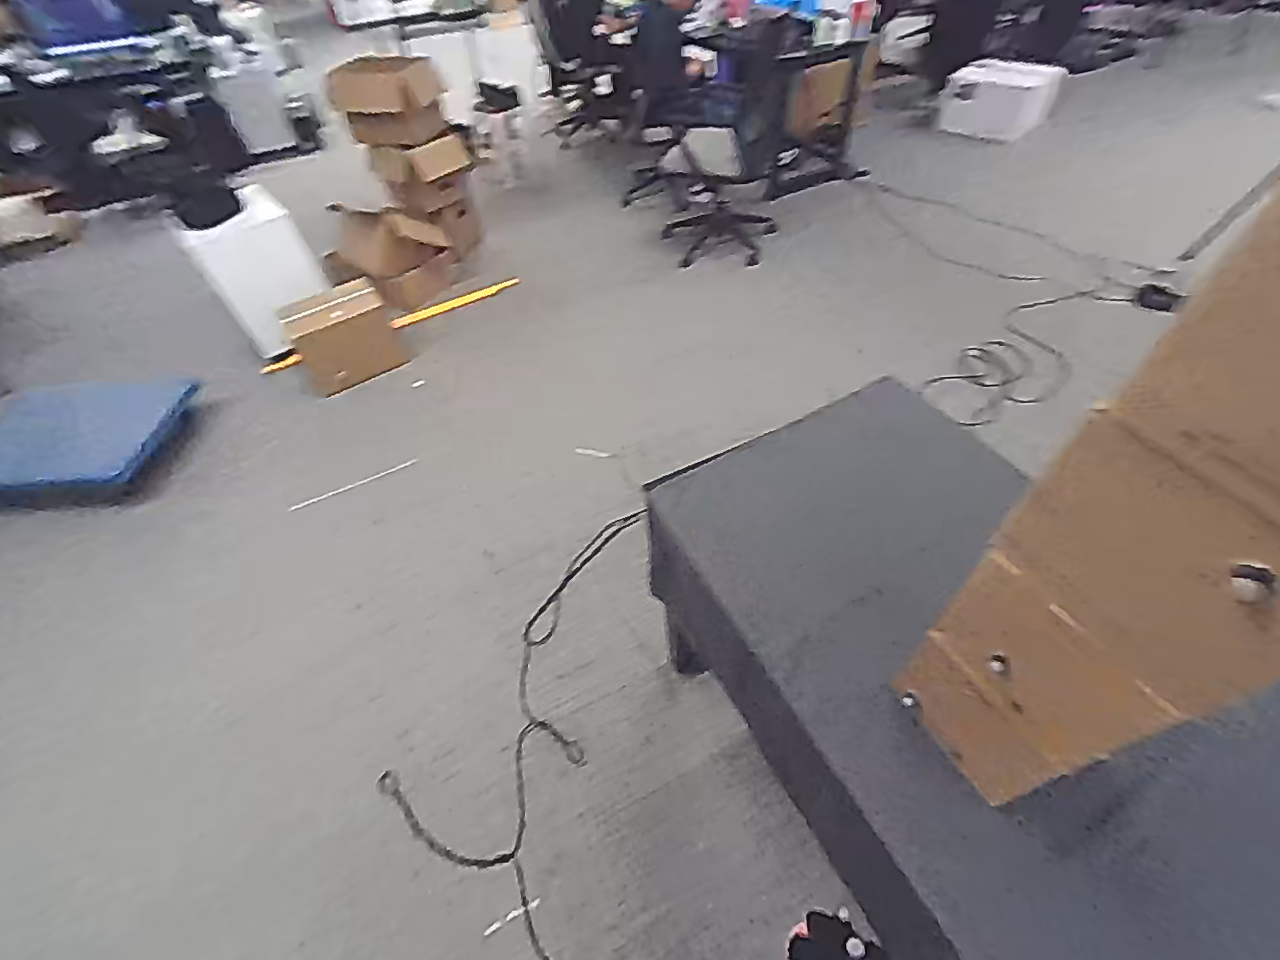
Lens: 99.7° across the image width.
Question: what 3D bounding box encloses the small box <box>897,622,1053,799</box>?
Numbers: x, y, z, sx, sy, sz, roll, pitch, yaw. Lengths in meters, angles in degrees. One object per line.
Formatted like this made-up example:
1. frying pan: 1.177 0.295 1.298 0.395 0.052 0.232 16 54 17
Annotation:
1. small box: 0.438 0.246 0.648 0.179 0.176 0.168 -23 50 -16

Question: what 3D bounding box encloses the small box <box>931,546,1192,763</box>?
1. small box: 0.426 0.139 0.526 0.179 0.176 0.168 -24 50 -14
